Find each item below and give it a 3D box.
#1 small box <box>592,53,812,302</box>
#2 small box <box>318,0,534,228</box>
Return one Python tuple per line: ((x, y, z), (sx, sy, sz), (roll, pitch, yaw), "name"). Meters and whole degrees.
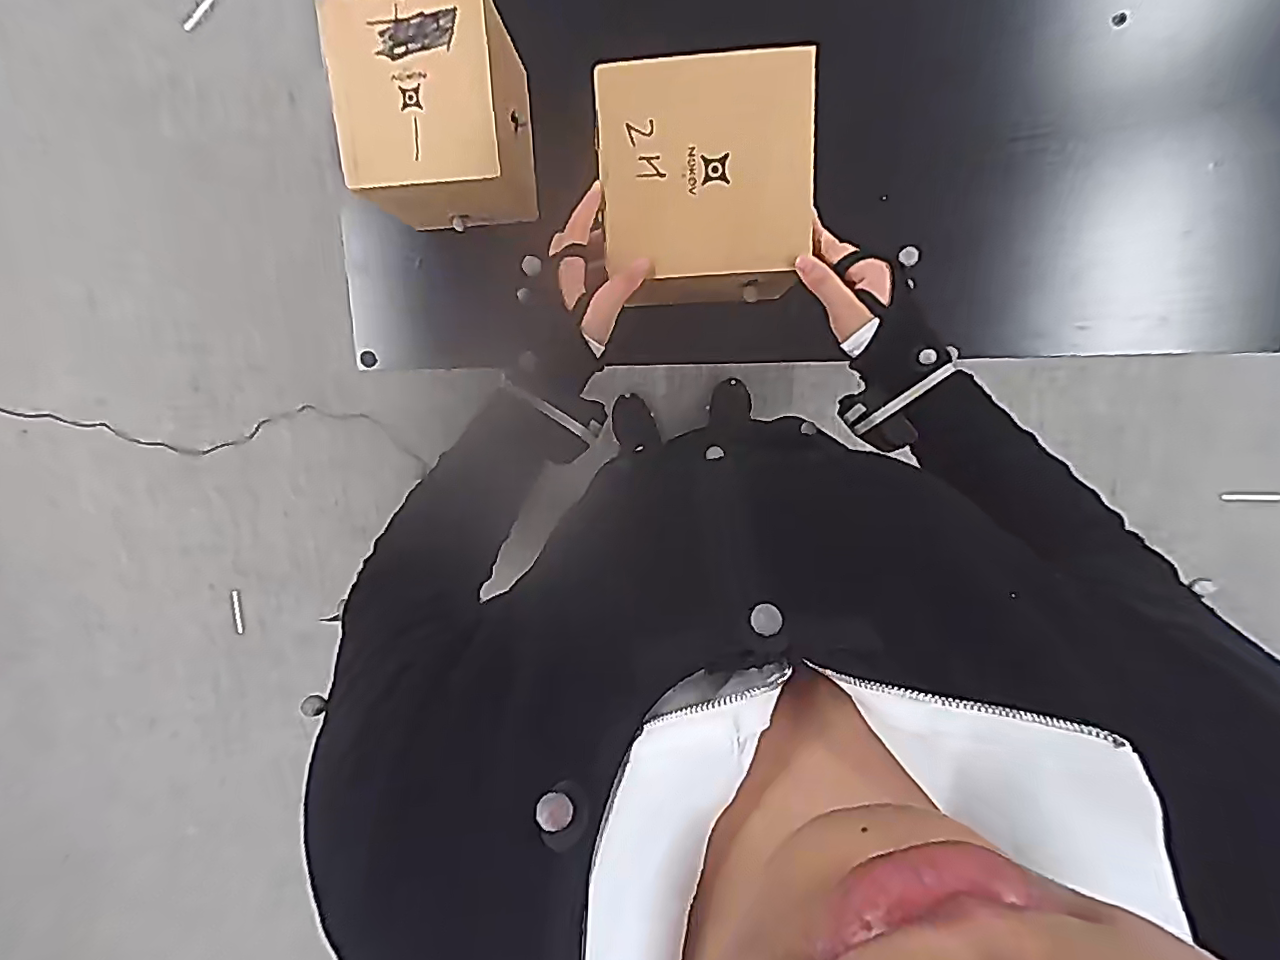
((0.055, -0.268, 0.520), (0.179, 0.176, 0.168), (-1, 101, 4), "small box")
((-0.226, -0.405, 0.616), (0.168, 0.176, 0.179), (-3, 102, 4), "small box")
